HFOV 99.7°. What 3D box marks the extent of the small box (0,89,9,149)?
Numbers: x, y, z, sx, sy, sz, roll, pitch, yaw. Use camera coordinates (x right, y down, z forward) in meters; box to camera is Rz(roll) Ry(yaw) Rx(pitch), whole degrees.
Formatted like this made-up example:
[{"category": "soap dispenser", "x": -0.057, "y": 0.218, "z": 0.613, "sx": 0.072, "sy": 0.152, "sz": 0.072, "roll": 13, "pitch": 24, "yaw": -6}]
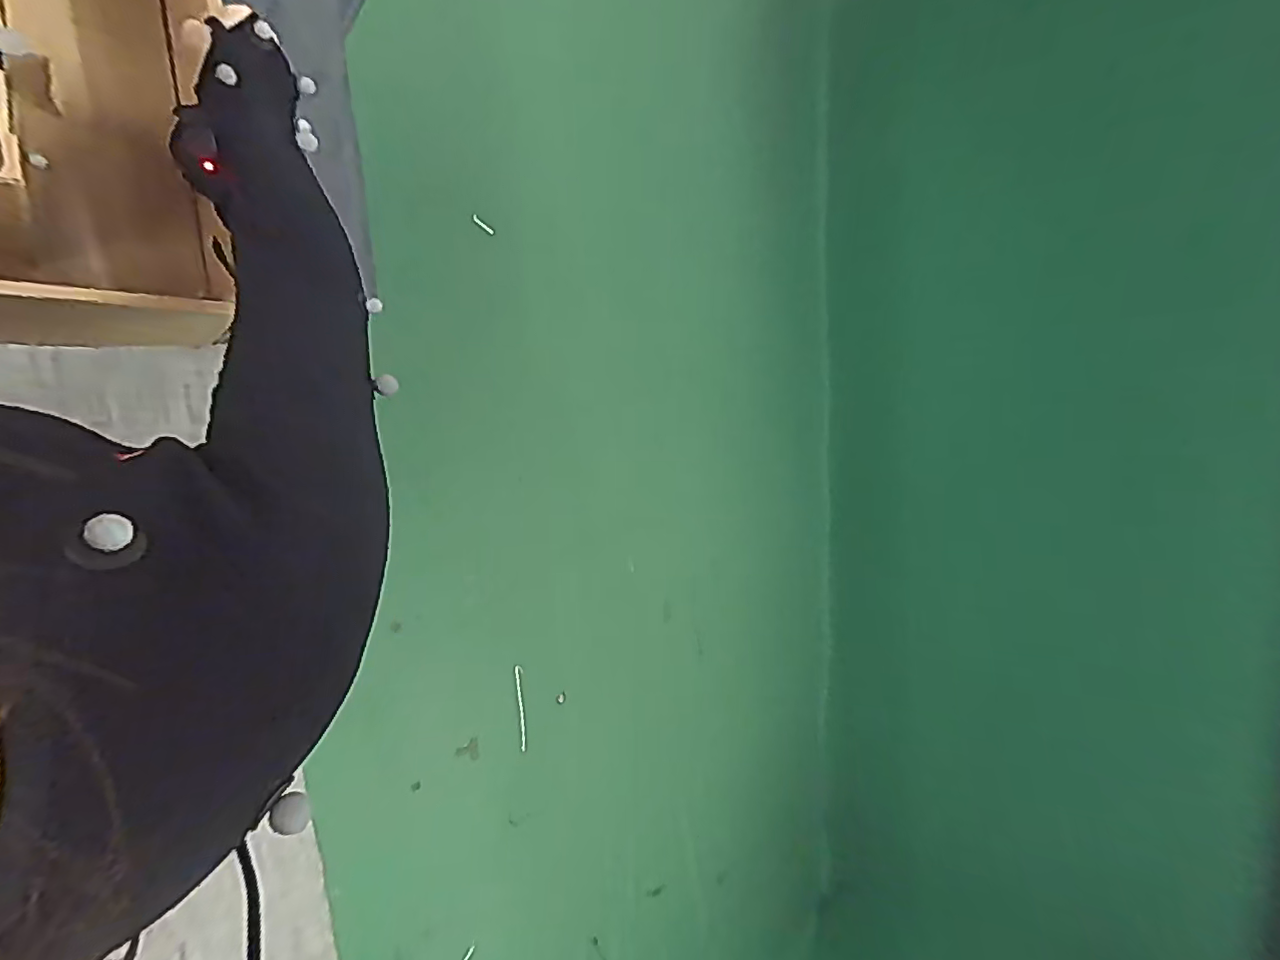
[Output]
[{"category": "small box", "x": -0.433, "y": -0.277, "z": 0.241, "sx": 0.179, "sy": 0.176, "sz": 0.168, "roll": -12, "pitch": 97, "yaw": -47}]
